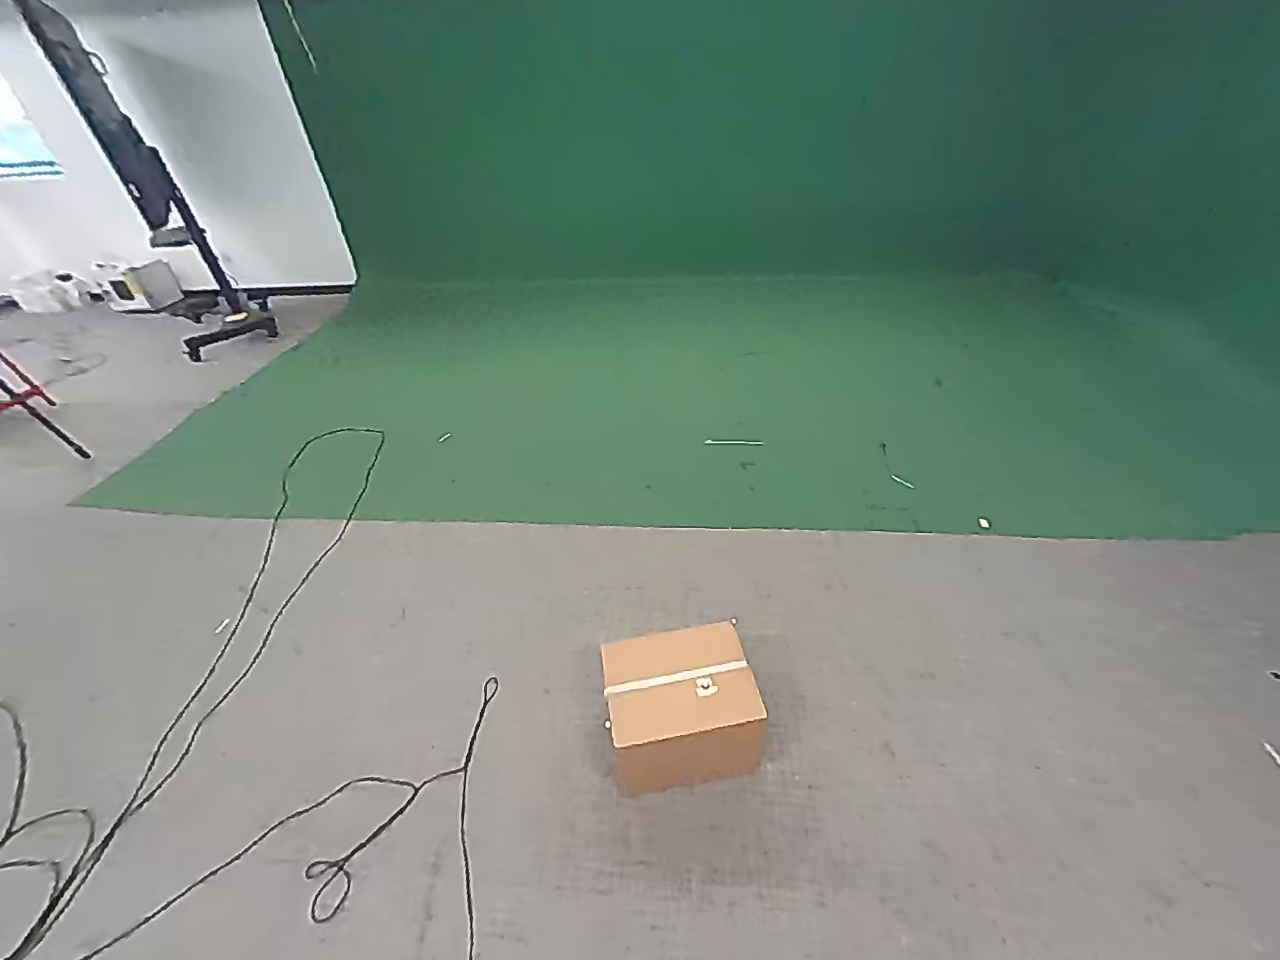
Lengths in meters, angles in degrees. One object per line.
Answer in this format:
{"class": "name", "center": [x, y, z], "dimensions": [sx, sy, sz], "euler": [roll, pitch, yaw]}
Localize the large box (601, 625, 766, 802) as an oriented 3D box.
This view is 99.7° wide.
{"class": "large box", "center": [0.114, 0.675, 1.576], "dimensions": [0.408, 0.320, 0.320], "euler": [-8, 38, -6]}
